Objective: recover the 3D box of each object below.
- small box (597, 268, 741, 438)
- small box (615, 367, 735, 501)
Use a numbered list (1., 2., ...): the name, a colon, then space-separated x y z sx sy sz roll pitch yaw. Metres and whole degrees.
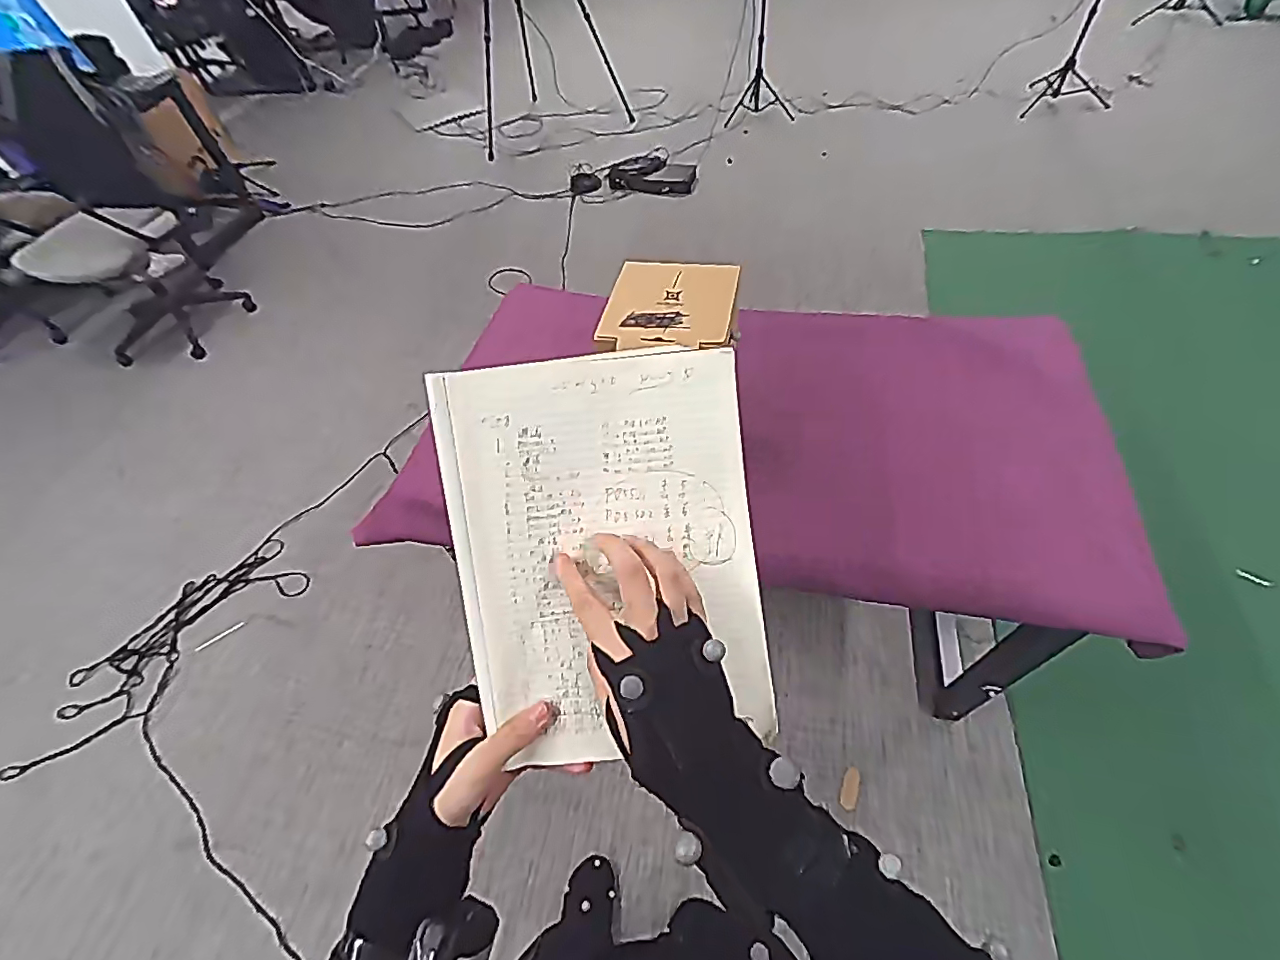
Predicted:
1. small box: 0.050 -0.181 0.778 0.168 0.176 0.179 8 53 12
2. small box: 0.066 -0.085 0.912 0.168 0.176 0.179 7 55 12
